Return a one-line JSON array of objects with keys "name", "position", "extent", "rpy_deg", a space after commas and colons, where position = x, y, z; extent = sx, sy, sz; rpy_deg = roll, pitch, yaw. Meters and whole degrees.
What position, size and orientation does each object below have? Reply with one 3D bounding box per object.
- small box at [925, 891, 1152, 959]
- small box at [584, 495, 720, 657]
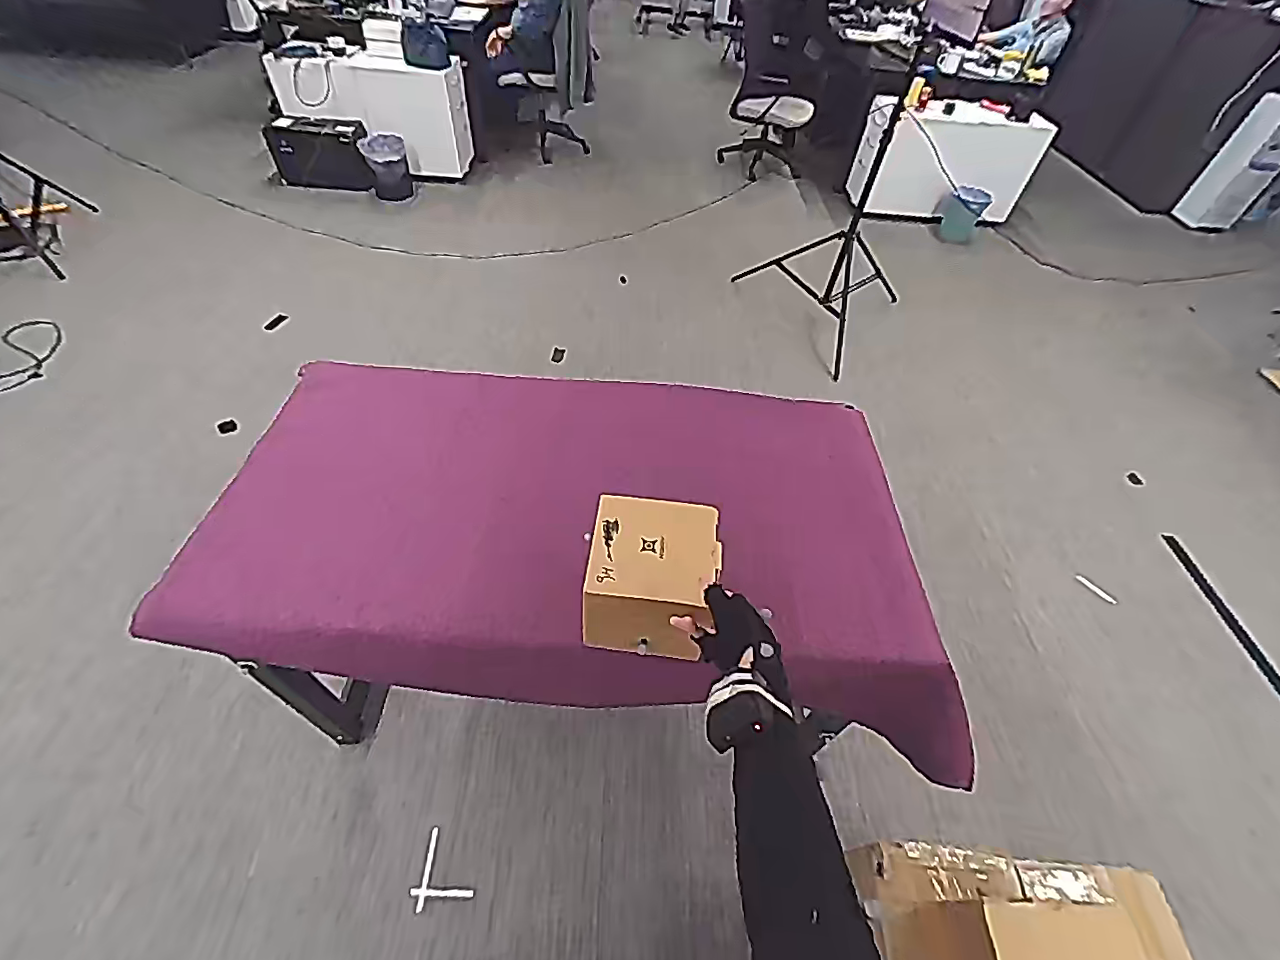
[{"name": "small box", "position": [0.453, 0.580, 0.607], "extent": [0.168, 0.176, 0.179], "rpy_deg": [3, 50, 0]}, {"name": "small box", "position": [0.017, 0.148, 0.806], "extent": [0.179, 0.176, 0.168], "rpy_deg": [7, 48, 0]}]
